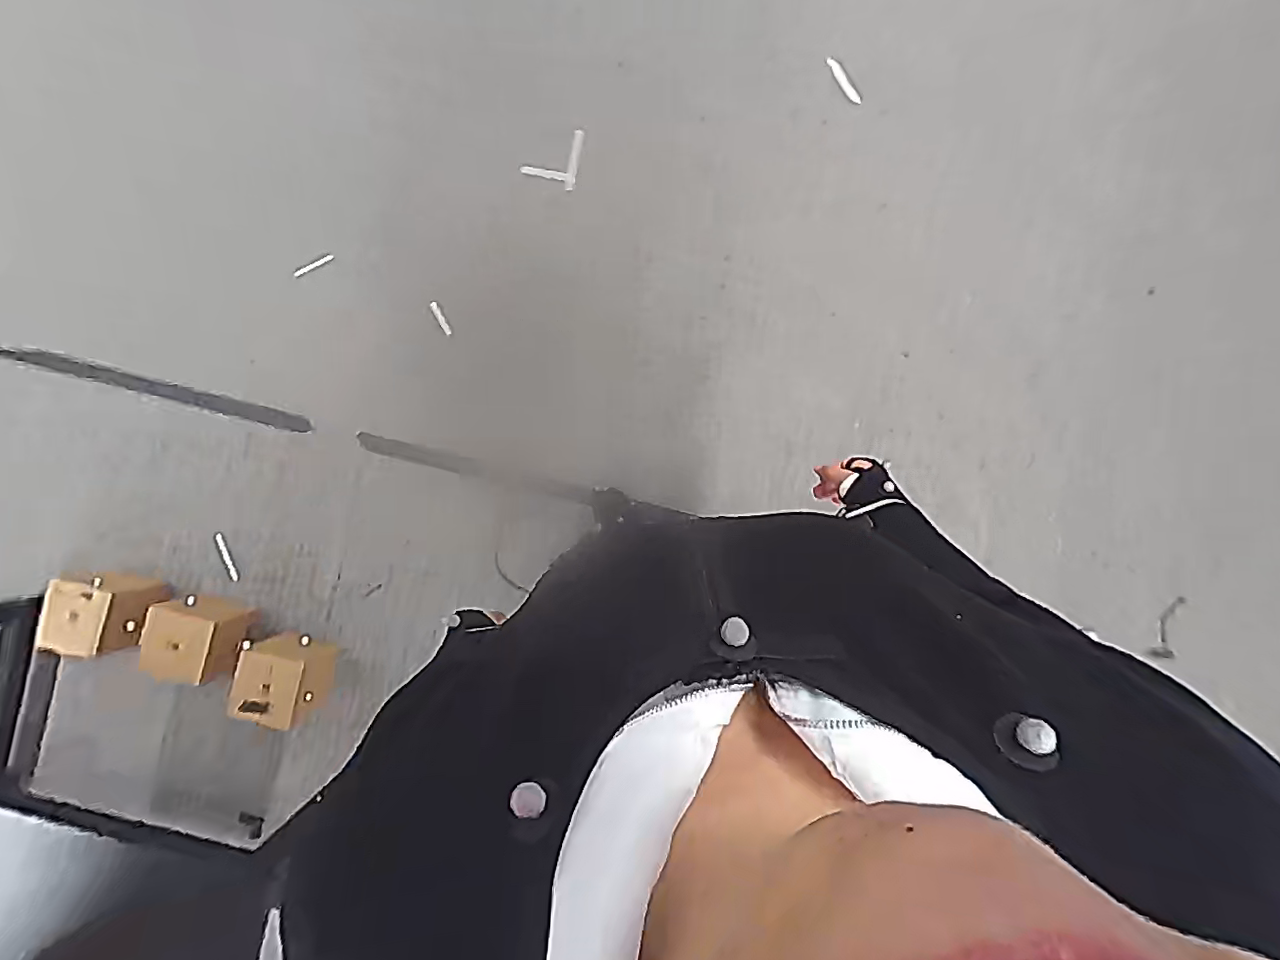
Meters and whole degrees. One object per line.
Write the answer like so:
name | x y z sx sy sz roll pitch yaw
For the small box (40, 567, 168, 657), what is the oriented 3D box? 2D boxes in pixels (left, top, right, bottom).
small box | -1.422 0.345 1.446 0.168 0.176 0.179 13 90 0

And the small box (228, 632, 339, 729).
small box | -0.935 0.524 1.436 0.168 0.176 0.179 13 89 1

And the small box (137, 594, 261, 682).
small box | -1.168 0.412 1.443 0.179 0.176 0.168 13 90 1
